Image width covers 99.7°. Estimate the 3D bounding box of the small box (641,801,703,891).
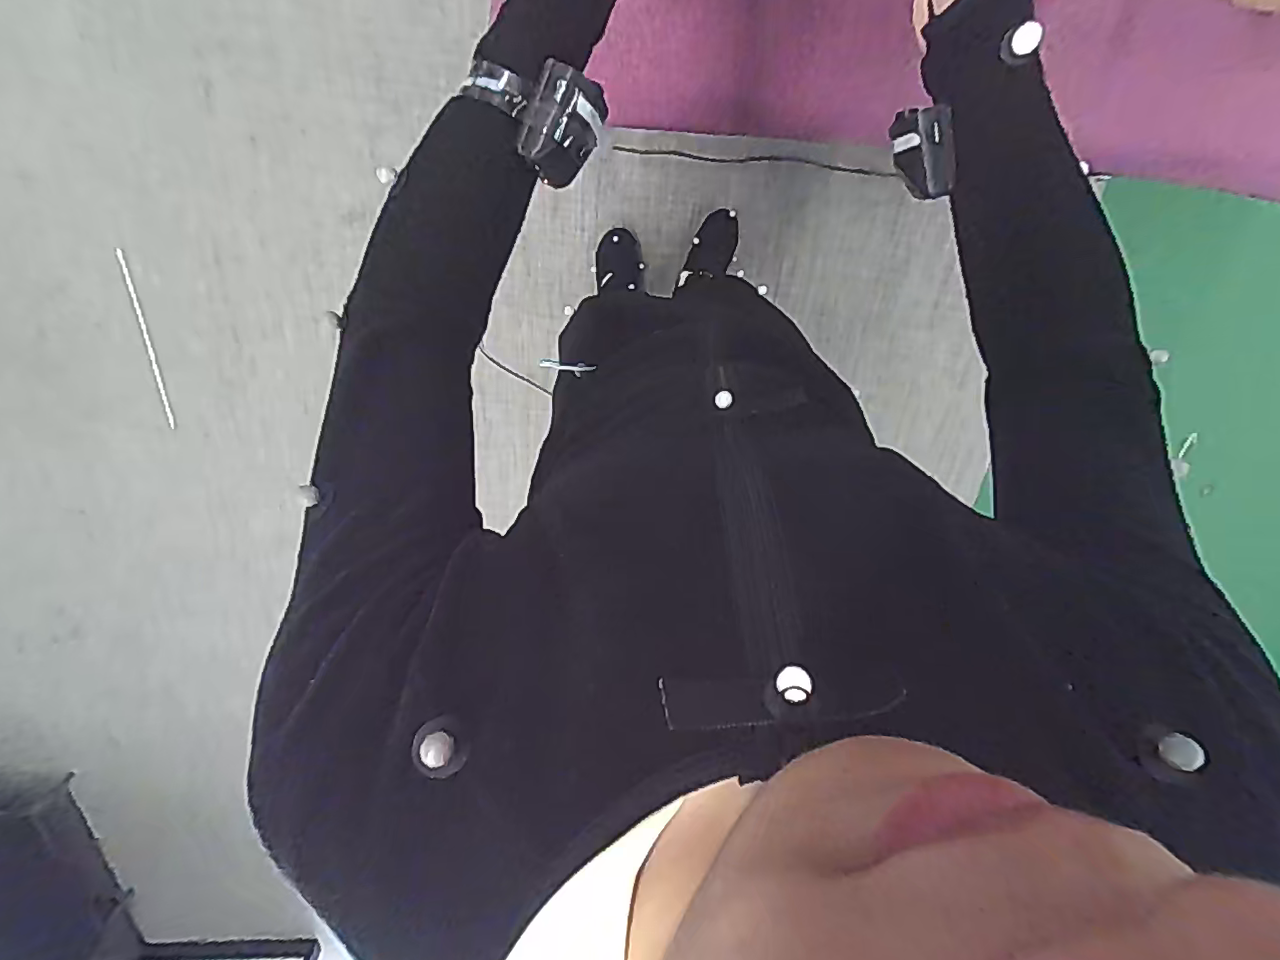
[{"bbox_3d":[0.095,1.161,1.719,0.168,0.176,0.179,6,114,-5],"label":"small box"}]
